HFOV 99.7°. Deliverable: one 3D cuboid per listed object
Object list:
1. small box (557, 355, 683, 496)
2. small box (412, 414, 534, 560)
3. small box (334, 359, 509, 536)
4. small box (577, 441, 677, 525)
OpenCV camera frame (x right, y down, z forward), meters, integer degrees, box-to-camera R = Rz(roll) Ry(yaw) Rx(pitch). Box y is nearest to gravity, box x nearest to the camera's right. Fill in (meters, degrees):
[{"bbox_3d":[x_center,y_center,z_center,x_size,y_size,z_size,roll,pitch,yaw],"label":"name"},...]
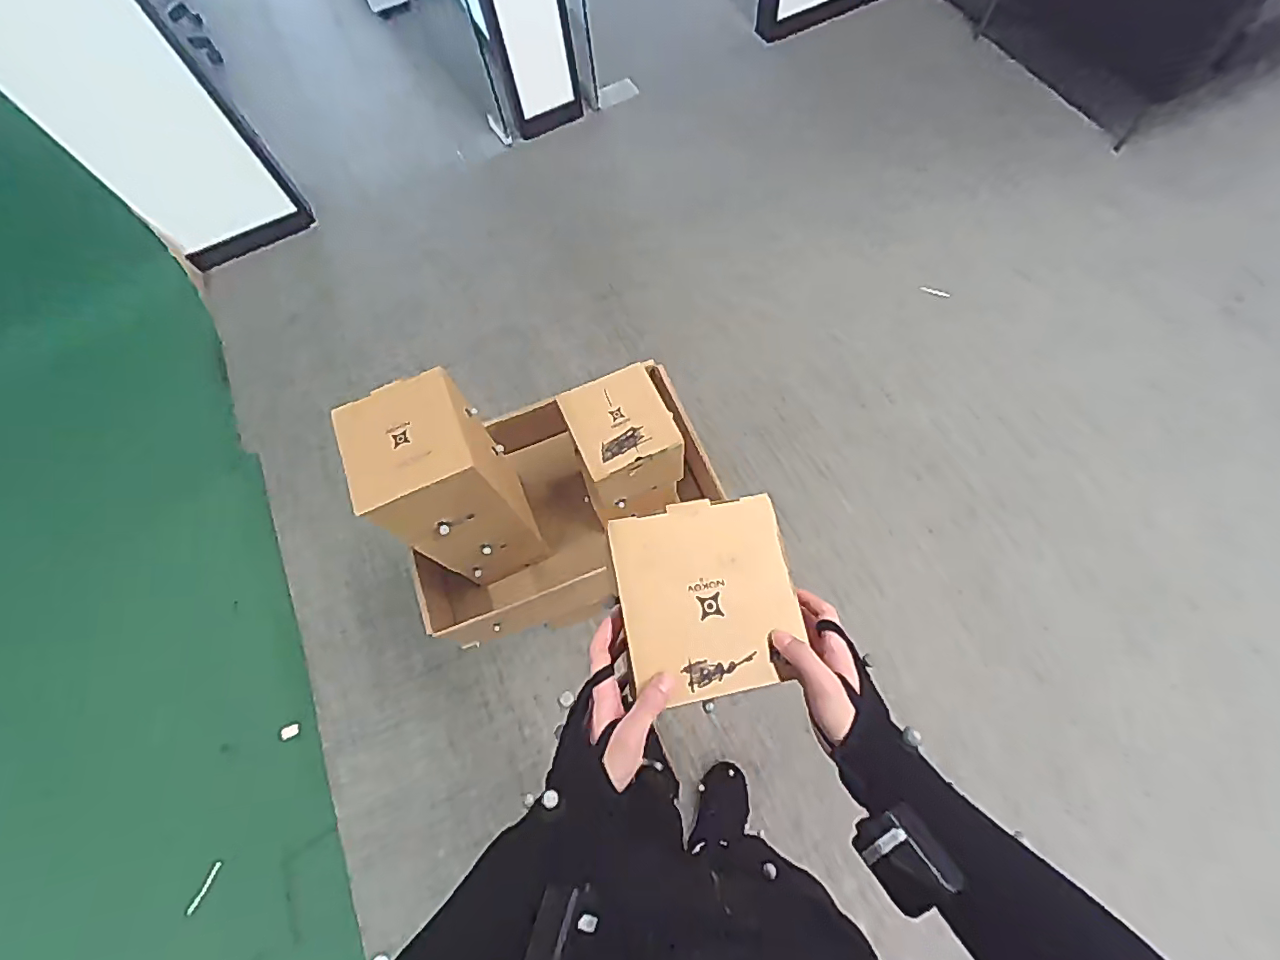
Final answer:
[{"bbox_3d":[-0.030,-0.087,0.979,0.168,0.176,0.179,-24,69,-6],"label":"small box"},{"bbox_3d":[-0.306,0.018,0.956,0.168,0.176,0.179,-24,69,-5],"label":"small box"},{"bbox_3d":[-0.316,-0.041,0.804,0.168,0.176,0.179,-23,68,-4],"label":"small box"},{"bbox_3d":[-0.029,-0.029,1.133,0.168,0.176,0.179,-20,69,-4],"label":"small box"}]
